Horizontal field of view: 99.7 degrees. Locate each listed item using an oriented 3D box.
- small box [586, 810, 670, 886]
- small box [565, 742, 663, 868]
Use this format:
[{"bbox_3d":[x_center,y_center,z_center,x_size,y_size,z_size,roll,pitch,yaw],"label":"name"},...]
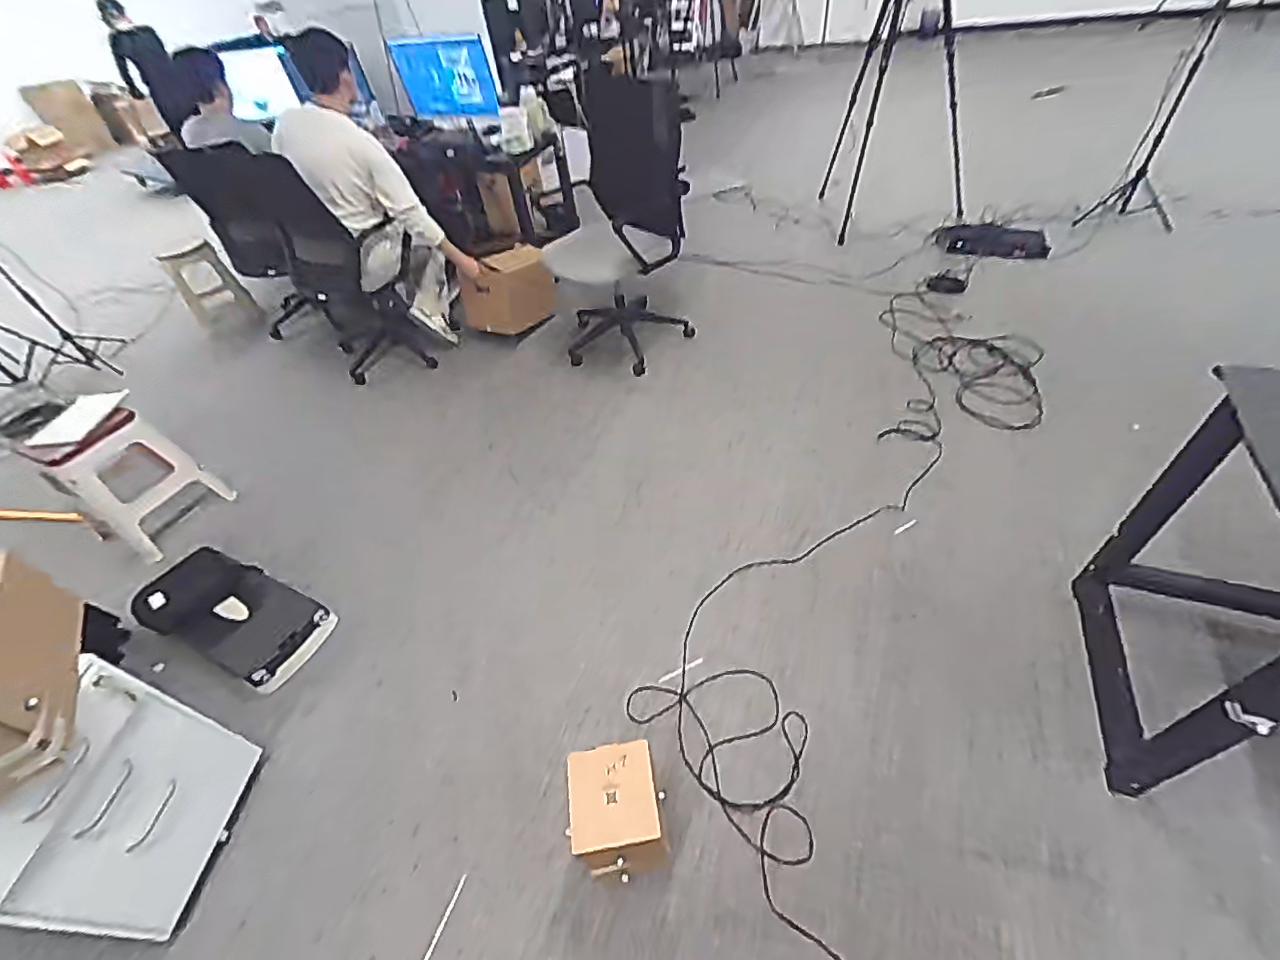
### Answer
[{"bbox_3d":[-0.036,0.775,1.202,0.168,0.176,0.179,-14,46,-5],"label":"small box"},{"bbox_3d":[-0.051,0.659,1.087,0.168,0.176,0.179,-10,45,-2],"label":"small box"}]
